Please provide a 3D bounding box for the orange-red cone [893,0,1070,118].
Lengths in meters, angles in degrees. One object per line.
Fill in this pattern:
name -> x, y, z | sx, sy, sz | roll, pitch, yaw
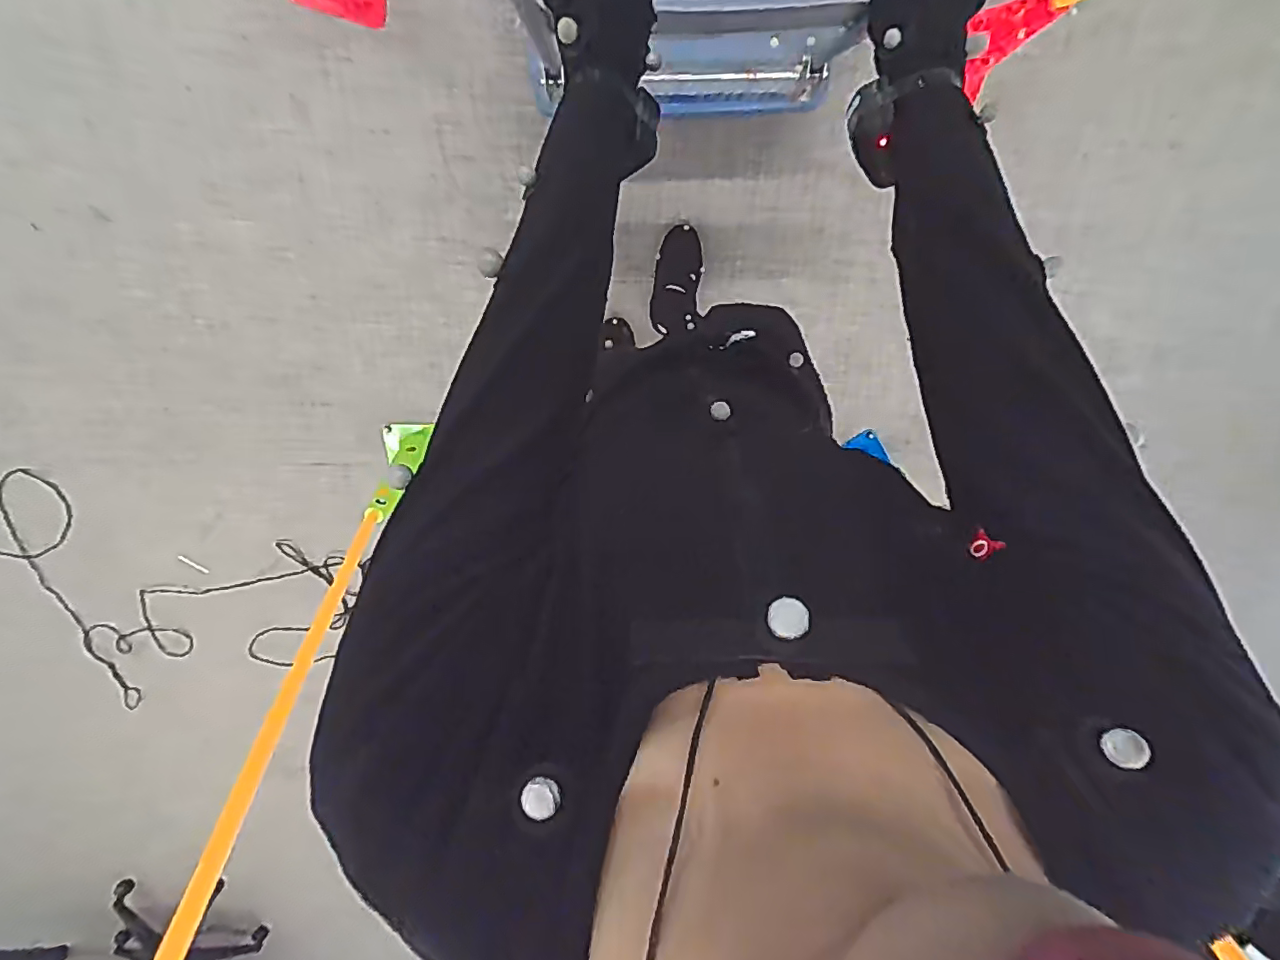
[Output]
orange-red cone -> 0.677, -0.853, 1.023 | 0.198, 0.360, 0.199 | 11, 114, -6
